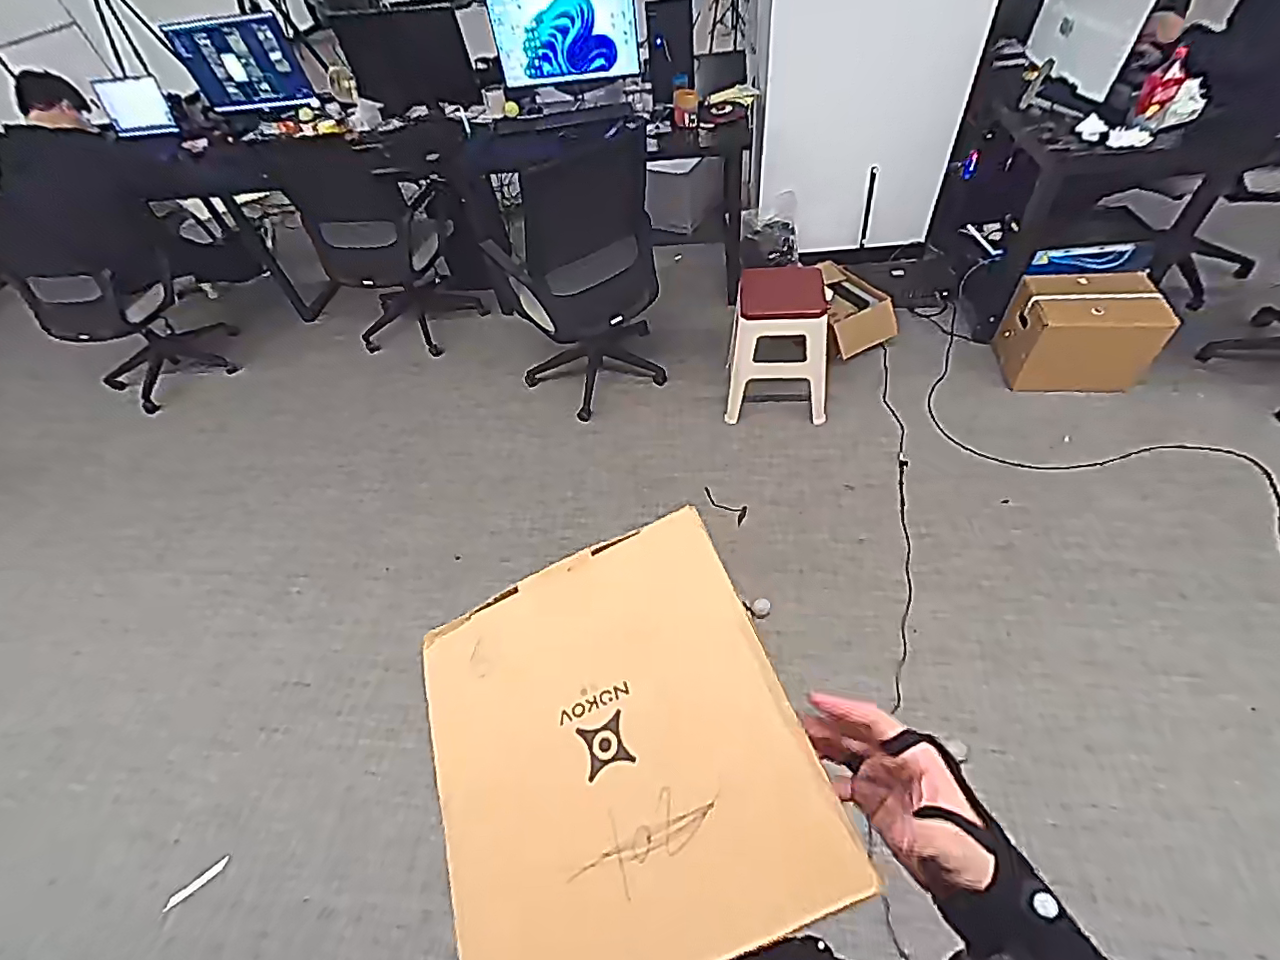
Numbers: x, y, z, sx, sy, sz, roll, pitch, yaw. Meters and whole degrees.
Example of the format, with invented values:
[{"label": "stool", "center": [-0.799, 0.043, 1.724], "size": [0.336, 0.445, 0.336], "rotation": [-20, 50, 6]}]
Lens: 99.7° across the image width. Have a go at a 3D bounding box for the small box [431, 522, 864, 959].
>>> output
[{"label": "small box", "center": [0.006, 0.160, 0.320], "size": [0.168, 0.176, 0.179], "rotation": [-26, 57, 3]}]
